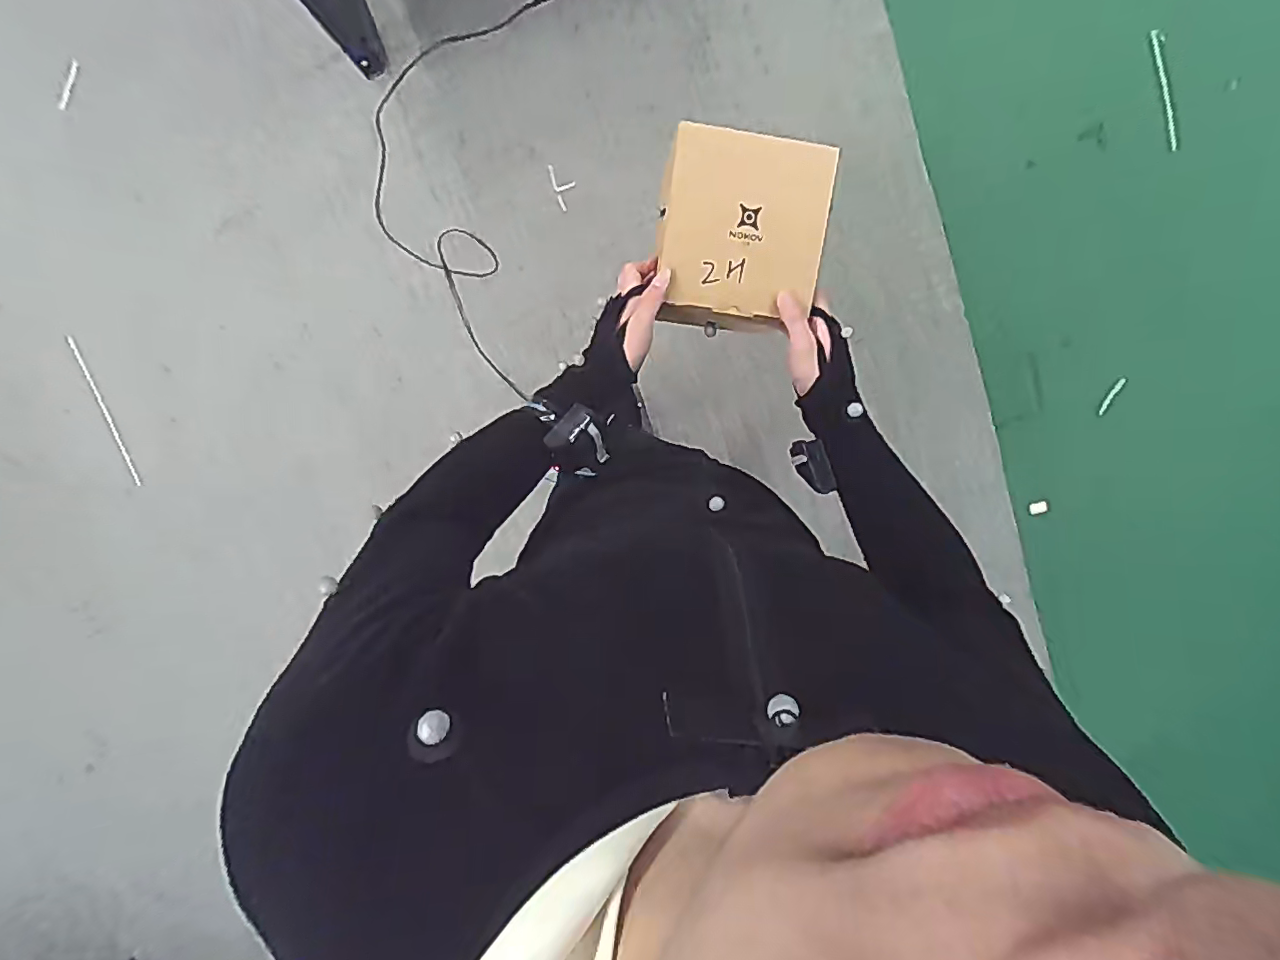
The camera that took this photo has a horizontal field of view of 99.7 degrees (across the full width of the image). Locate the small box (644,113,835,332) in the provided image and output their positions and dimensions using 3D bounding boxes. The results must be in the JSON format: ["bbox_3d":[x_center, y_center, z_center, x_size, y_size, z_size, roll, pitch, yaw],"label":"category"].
[{"bbox_3d":[0.099,-0.277,0.623,0.168,0.176,0.179,7,100,-5],"label":"small box"}]
